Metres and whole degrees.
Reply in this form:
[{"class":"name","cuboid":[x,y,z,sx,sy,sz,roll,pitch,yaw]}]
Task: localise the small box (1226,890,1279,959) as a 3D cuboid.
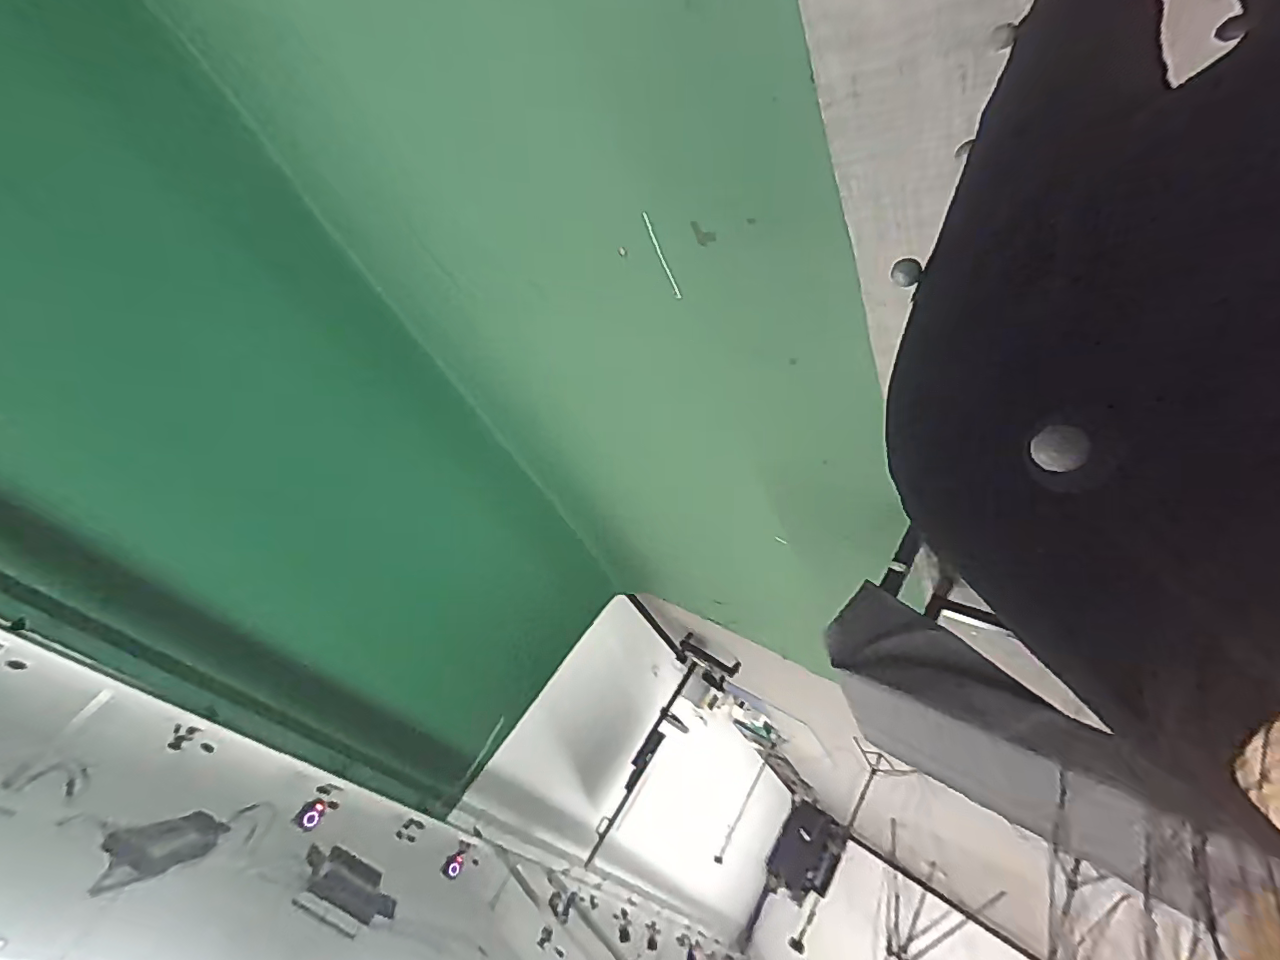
[{"class":"small box","cuboid":[1.310,0.969,1.082,0.168,0.176,0.179,14,147,45]}]
